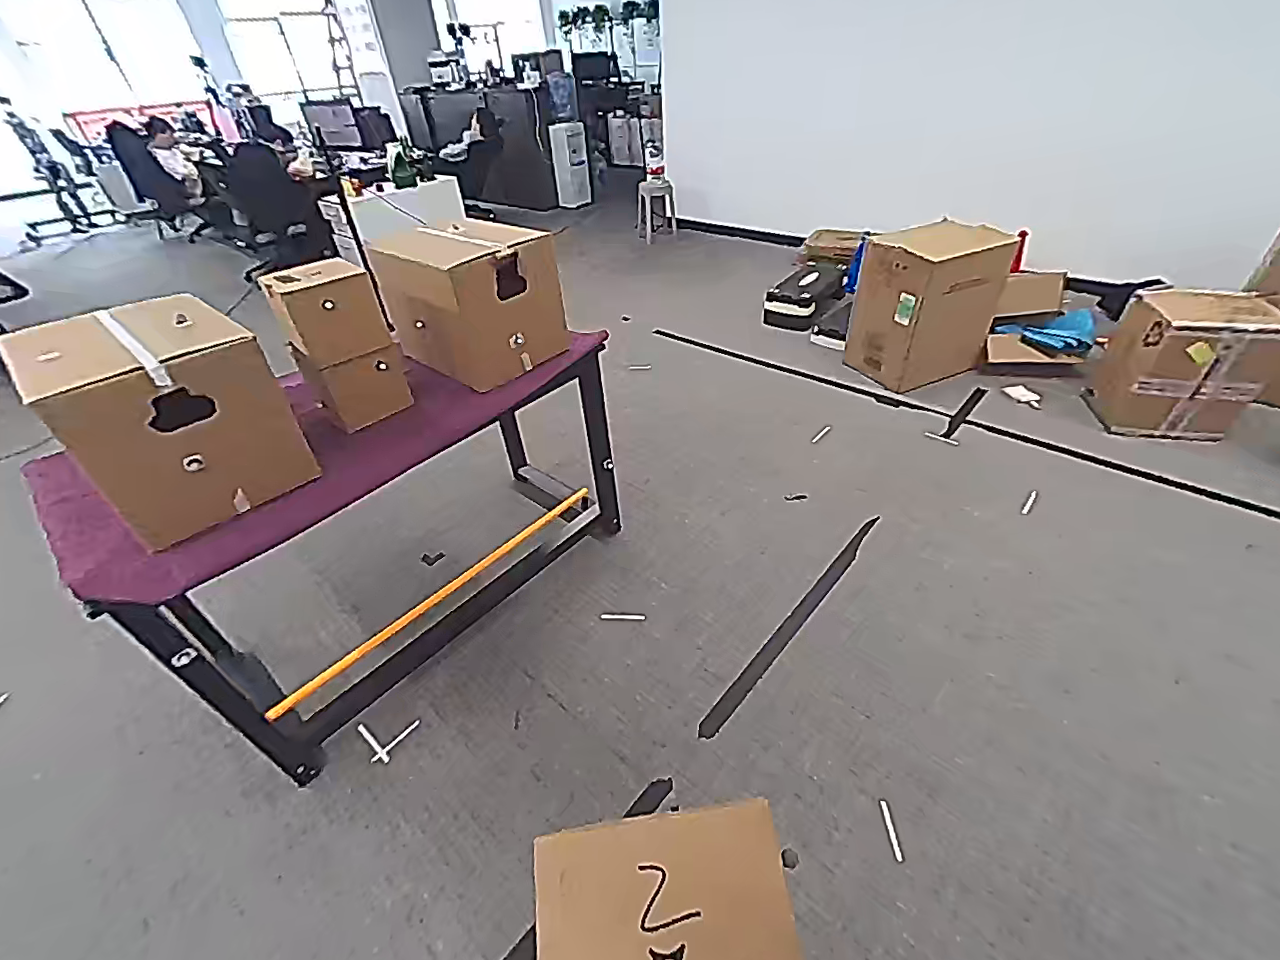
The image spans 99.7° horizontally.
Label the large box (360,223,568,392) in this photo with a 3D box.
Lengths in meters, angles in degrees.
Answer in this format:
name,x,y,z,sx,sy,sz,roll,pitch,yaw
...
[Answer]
name,x,y,z,sx,sy,sz,roll,pitch,yaw
large box,-0.458,-0.474,1.454,0.408,0.320,0.320,25,46,34
